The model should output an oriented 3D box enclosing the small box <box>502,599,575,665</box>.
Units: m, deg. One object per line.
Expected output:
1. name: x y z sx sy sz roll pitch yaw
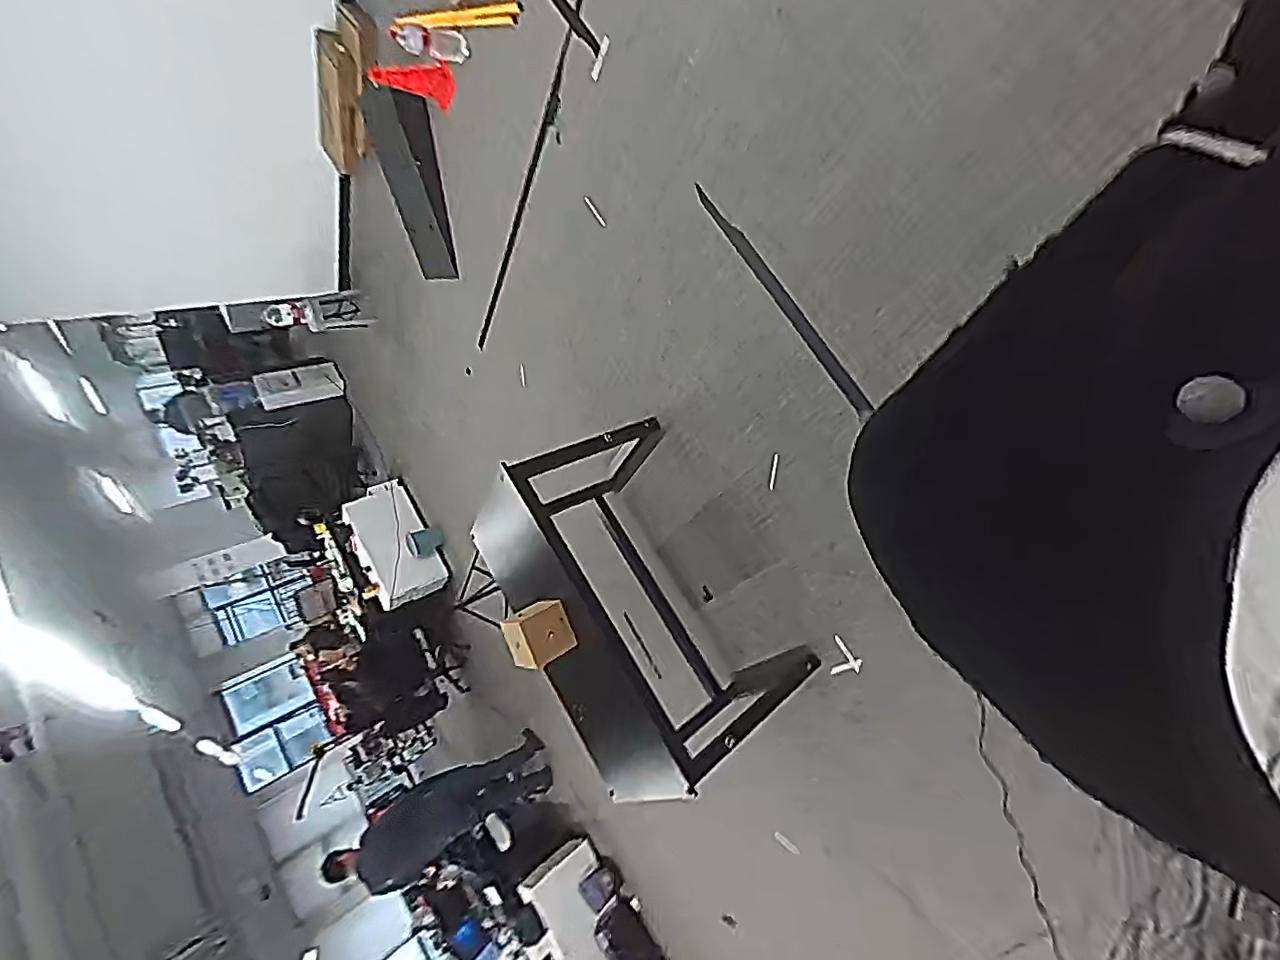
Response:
1. small box: -0.345 0.518 1.865 0.179 0.176 0.168 -19 92 54
